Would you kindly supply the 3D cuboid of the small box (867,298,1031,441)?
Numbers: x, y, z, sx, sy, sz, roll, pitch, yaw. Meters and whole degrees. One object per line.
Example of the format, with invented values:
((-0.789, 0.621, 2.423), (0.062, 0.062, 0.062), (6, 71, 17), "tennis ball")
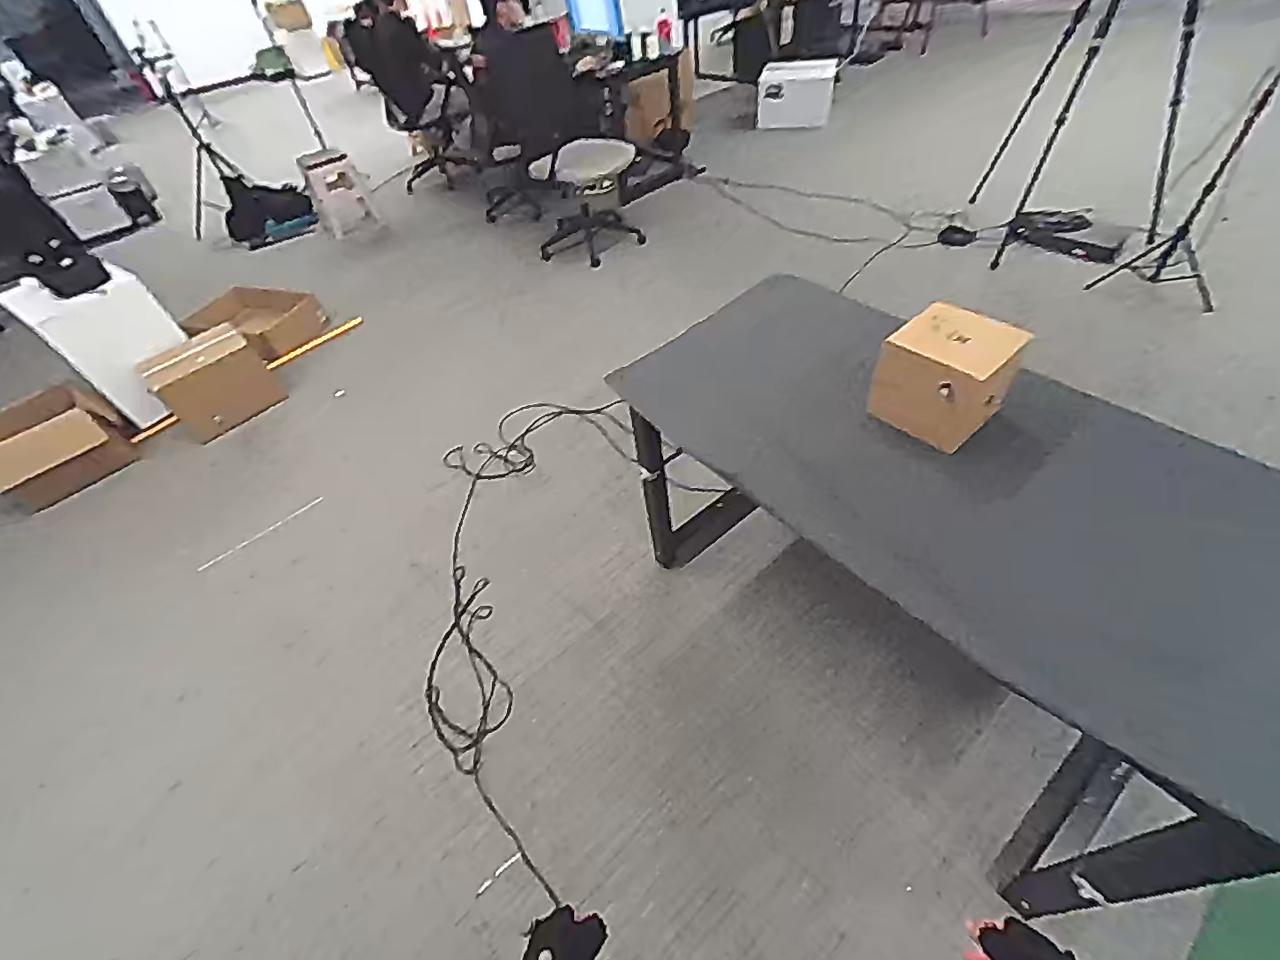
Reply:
((0.544, -0.194, 0.975), (0.168, 0.176, 0.179), (-36, 52, -22), "small box")
